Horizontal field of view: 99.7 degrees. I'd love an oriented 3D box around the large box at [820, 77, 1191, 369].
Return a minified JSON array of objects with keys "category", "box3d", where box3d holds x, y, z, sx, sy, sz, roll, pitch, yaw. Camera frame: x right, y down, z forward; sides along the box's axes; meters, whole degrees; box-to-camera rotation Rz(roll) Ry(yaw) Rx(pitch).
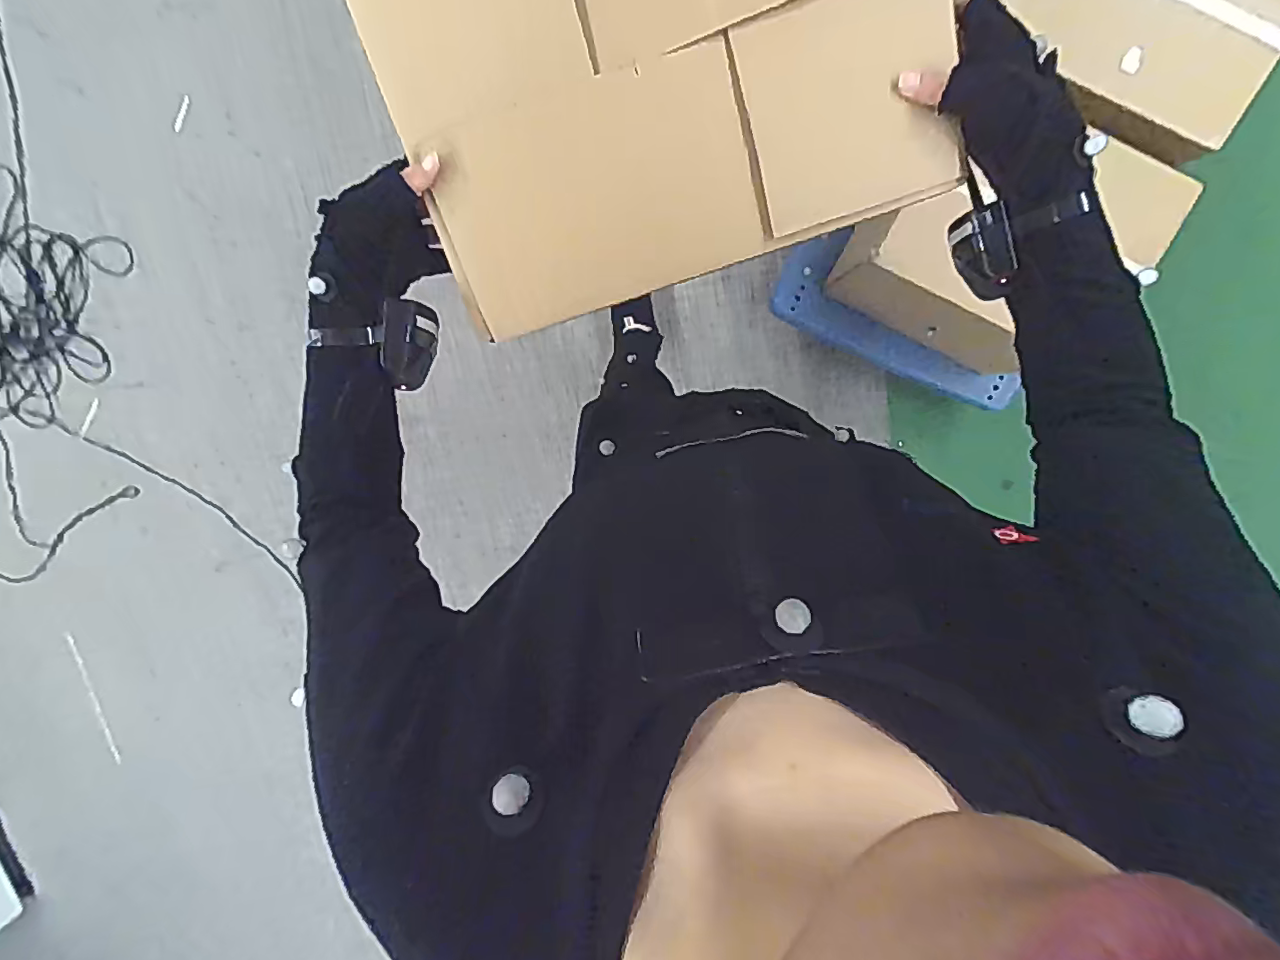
[{"category":"large box","box3d":[0.616,-0.427,1.001,0.408,0.320,0.320,27,100,0]}]
